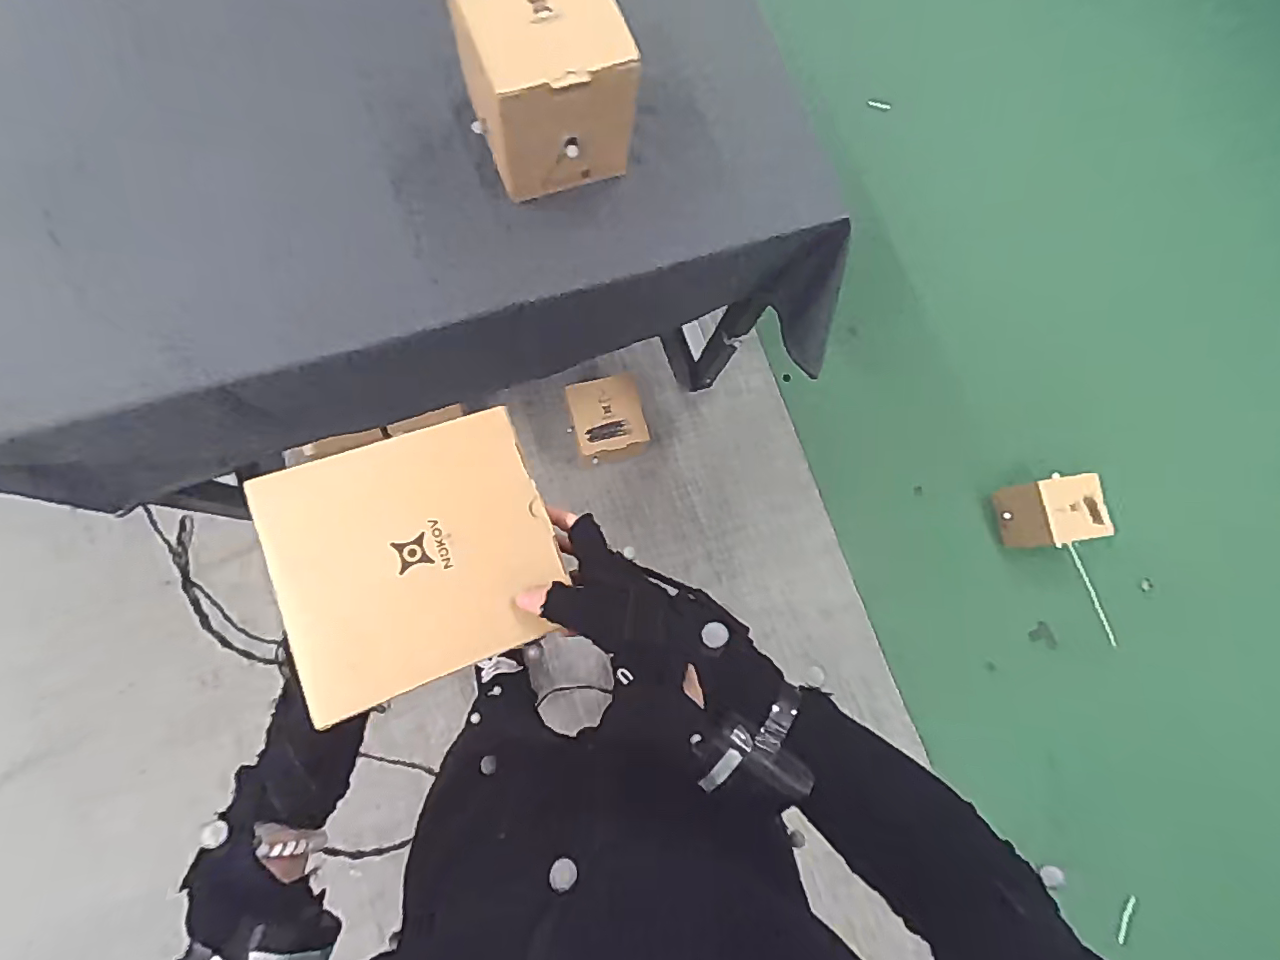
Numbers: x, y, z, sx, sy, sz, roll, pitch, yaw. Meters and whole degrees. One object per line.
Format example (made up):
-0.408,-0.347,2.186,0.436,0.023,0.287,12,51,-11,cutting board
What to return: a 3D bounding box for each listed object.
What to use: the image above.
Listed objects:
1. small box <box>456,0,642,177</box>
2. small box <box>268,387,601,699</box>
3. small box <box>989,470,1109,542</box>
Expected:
-0.110,-0.502,0.656,0.168,0.176,0.179,-21,84,-11,small box
-0.148,0.053,0.431,0.179,0.176,0.168,-19,80,-17,small box
1.095,0.074,1.460,0.179,0.176,0.168,-7,80,-8,small box
